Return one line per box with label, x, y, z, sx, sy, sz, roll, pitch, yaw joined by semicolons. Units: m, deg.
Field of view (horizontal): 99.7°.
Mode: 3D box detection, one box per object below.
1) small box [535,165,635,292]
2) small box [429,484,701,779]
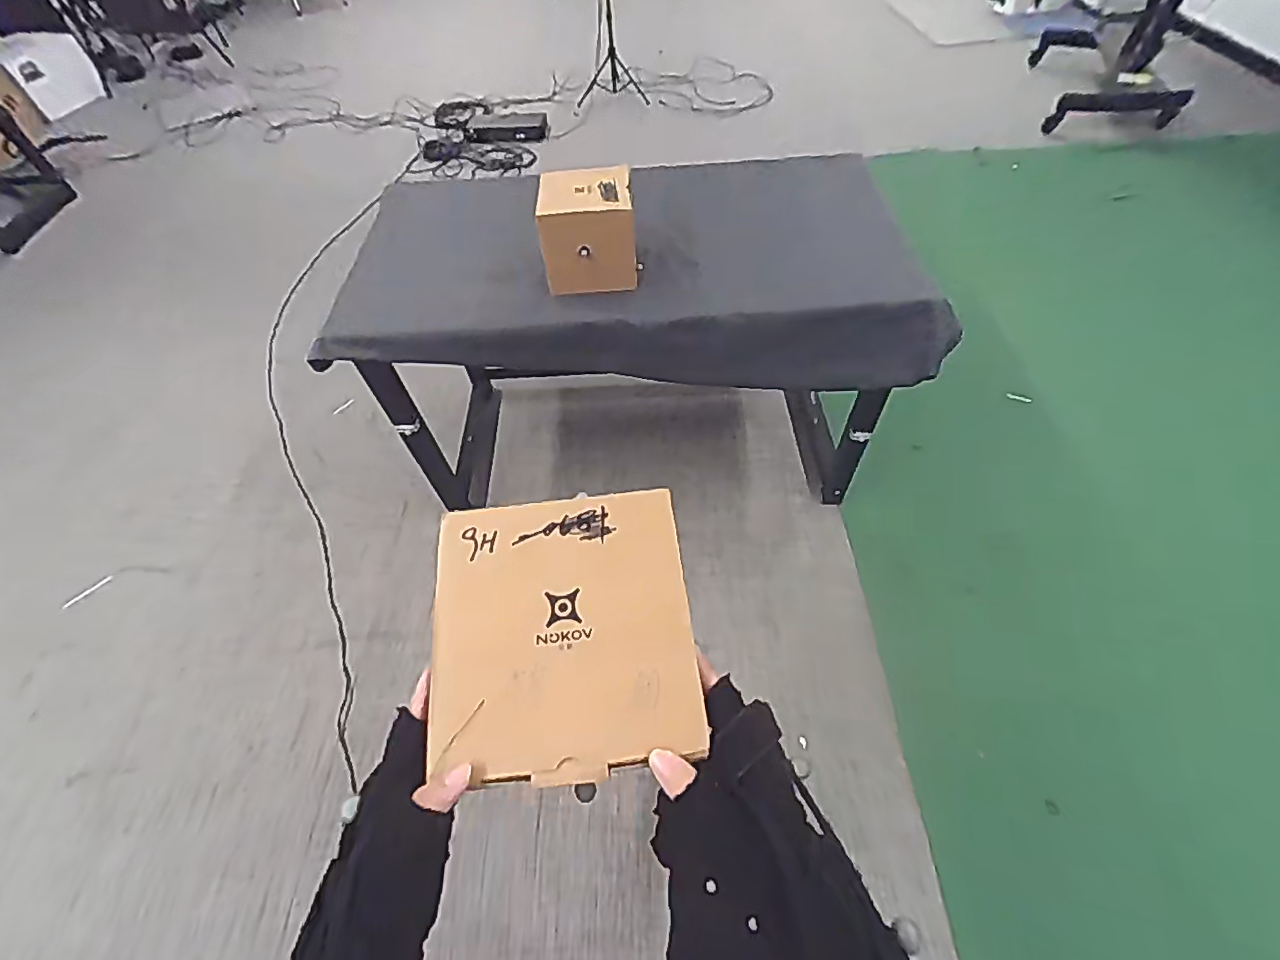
small box;-0.100;-0.494;1.072;0.179;0.176;0.168;-4;54;2
small box;-0.049;0.122;0.424;0.168;0.176;0.179;-6;63;-3
